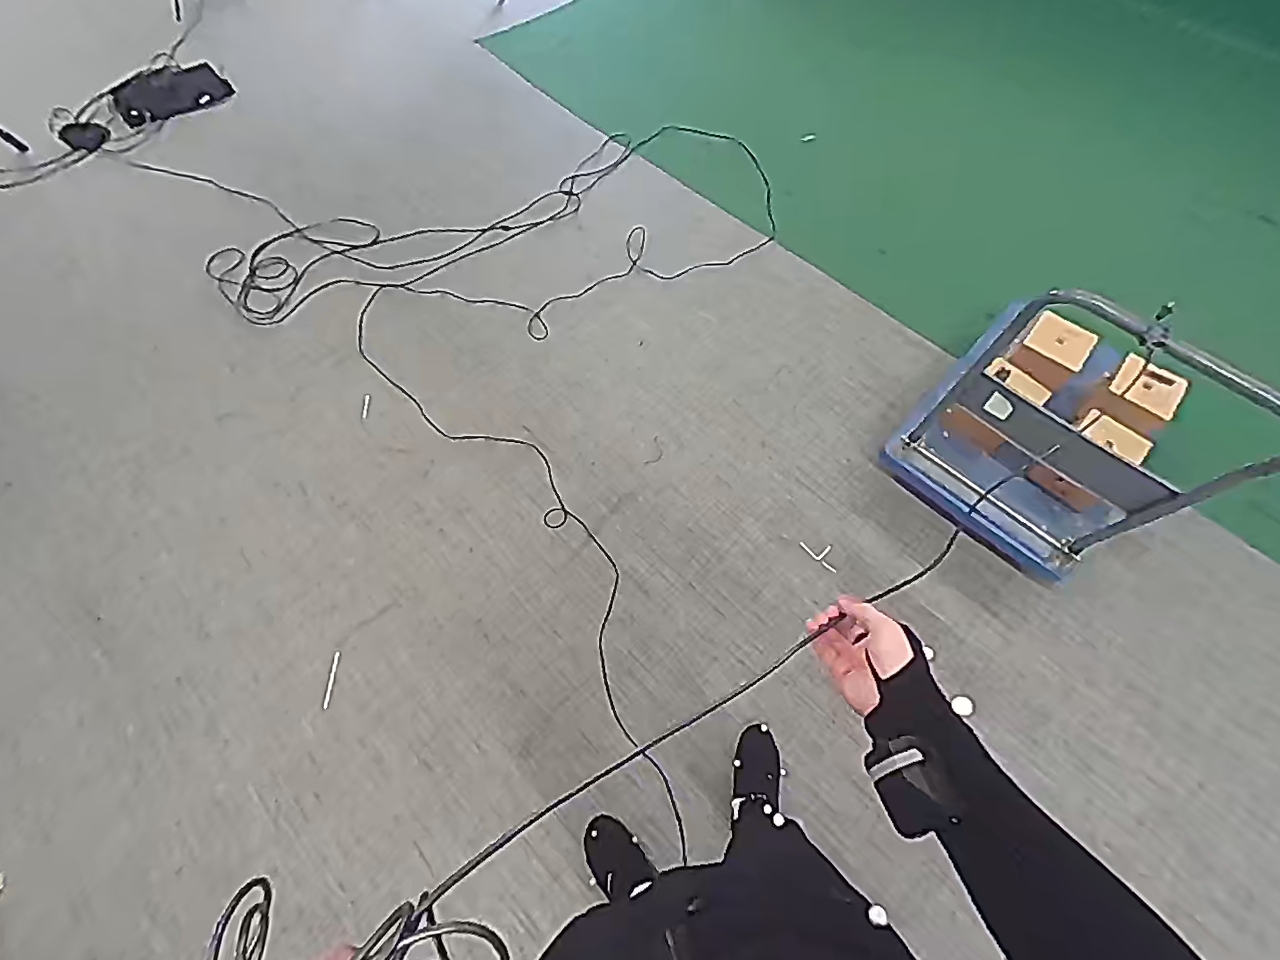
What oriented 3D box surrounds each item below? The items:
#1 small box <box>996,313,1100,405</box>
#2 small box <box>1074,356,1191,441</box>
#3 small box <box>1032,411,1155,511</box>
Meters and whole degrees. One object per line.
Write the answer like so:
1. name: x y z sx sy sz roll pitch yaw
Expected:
1. small box: 1.235 -0.364 1.651 0.168 0.176 0.179 38 69 17
2. small box: 1.426 -0.218 1.577 0.168 0.176 0.179 37 69 18
3. small box: 1.237 -0.048 1.488 0.179 0.176 0.168 -41 70 -18
